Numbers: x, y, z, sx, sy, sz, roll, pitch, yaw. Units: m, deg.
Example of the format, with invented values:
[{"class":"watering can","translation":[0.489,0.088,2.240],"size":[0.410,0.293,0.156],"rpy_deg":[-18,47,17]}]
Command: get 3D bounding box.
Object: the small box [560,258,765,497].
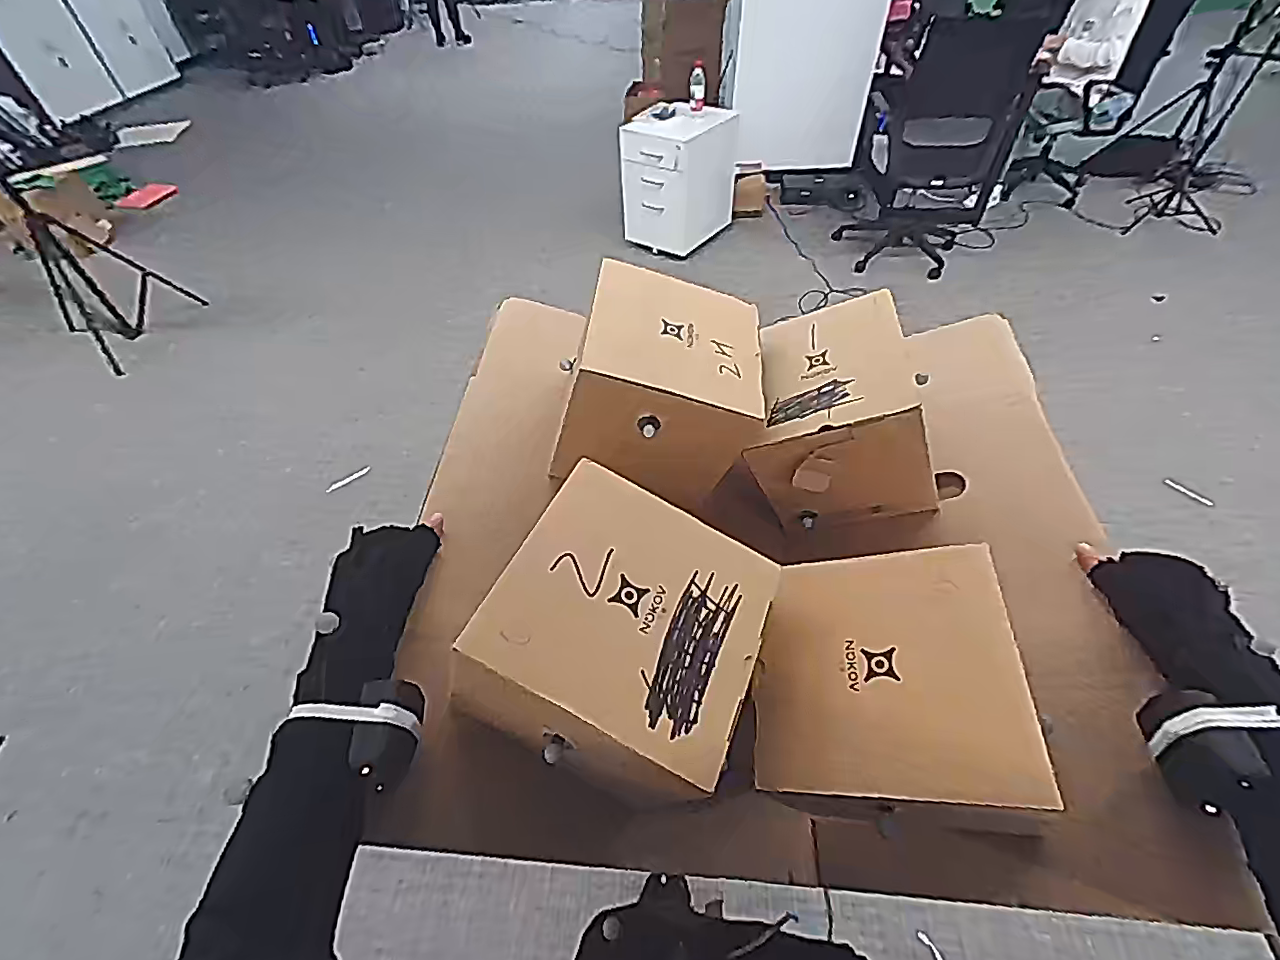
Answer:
[{"class":"small box","translation":[0.019,-0.101,0.589],"size":[0.179,0.176,0.168],"rpy_deg":[15,55,-10]}]
